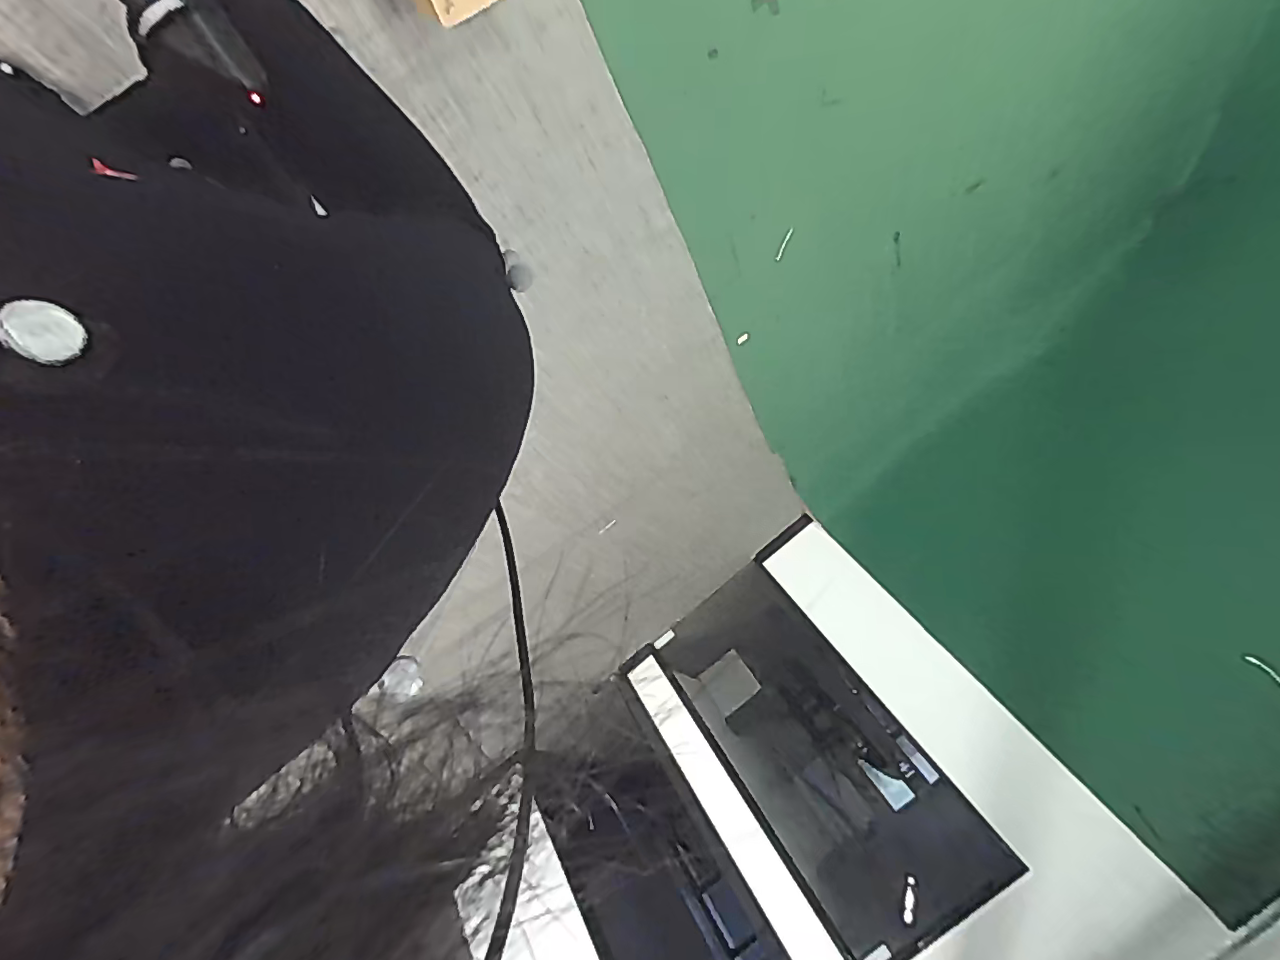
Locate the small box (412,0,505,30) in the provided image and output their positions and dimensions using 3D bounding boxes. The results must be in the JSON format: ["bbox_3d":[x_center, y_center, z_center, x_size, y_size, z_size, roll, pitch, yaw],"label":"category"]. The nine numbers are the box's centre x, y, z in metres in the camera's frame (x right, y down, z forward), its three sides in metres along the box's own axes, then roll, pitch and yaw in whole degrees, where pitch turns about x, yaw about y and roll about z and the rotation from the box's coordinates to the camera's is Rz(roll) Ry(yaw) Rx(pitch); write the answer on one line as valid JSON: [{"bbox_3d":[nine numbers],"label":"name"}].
[{"bbox_3d":[-0.336,-0.943,0.951,0.179,0.176,0.168,-33,146,-6],"label":"small box"}]
